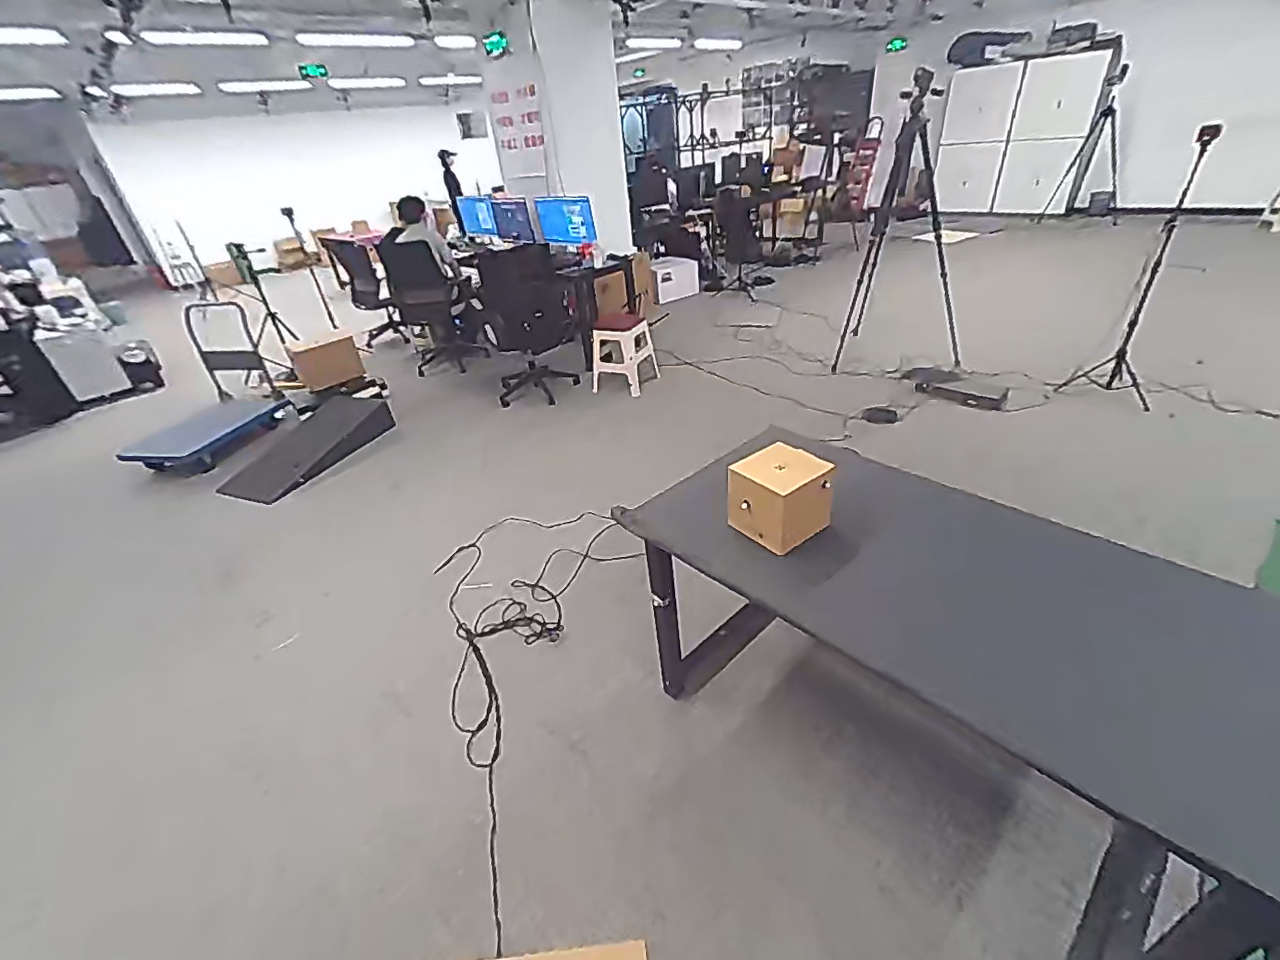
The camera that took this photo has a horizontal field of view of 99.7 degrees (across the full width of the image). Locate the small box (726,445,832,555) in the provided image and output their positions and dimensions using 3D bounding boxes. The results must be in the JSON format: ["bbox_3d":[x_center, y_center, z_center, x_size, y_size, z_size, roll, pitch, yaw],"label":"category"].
[{"bbox_3d":[0.320,0.045,1.253,0.179,0.176,0.168,-25,37,-29],"label":"small box"}]
